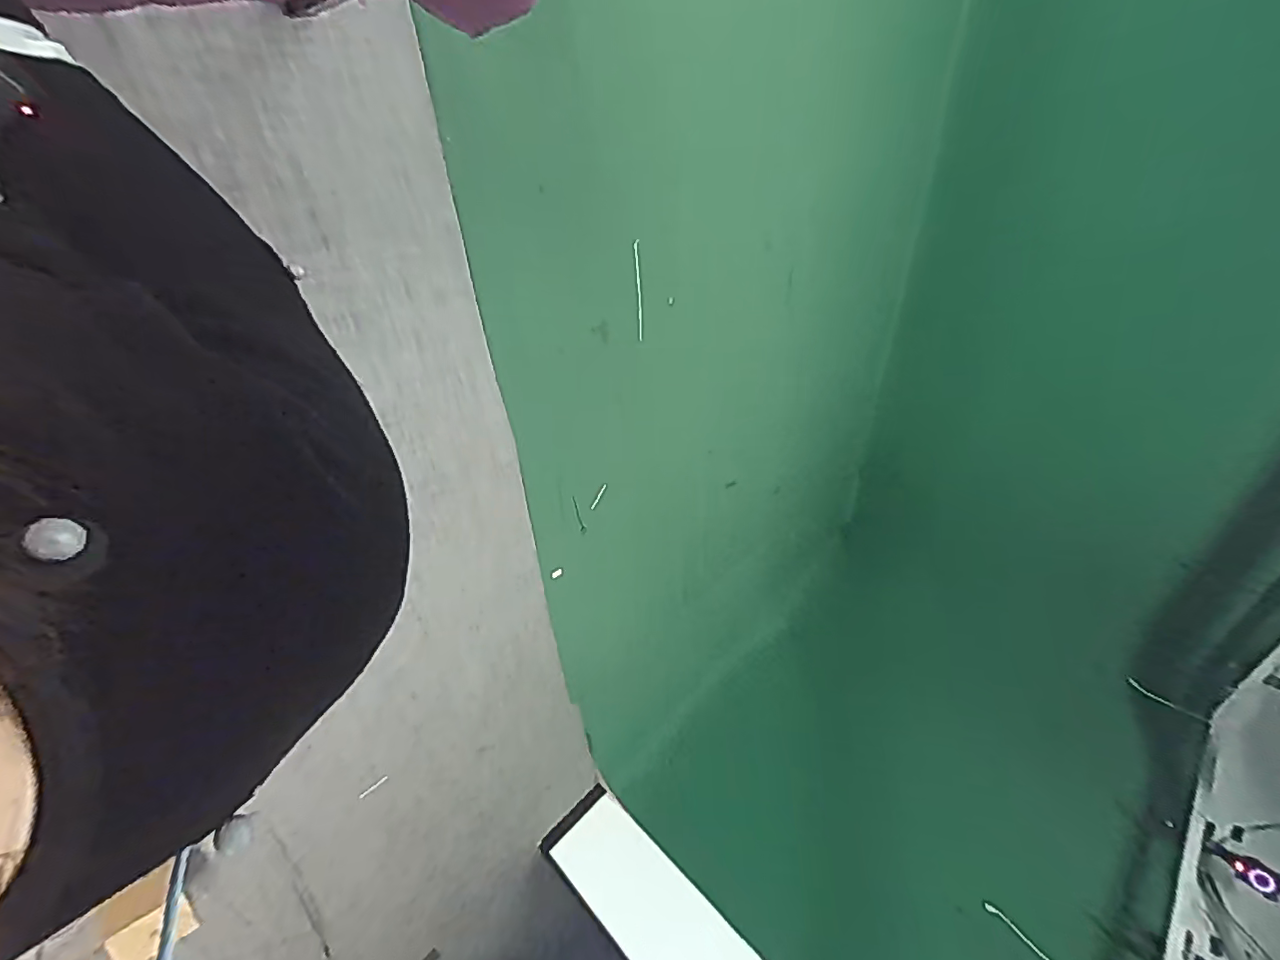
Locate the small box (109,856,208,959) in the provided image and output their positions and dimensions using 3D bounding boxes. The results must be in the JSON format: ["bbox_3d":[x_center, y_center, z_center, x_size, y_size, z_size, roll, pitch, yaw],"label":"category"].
[{"bbox_3d":[-1.352,1.215,1.519,0.168,0.176,0.179,-20,127,-42],"label":"small box"}]
